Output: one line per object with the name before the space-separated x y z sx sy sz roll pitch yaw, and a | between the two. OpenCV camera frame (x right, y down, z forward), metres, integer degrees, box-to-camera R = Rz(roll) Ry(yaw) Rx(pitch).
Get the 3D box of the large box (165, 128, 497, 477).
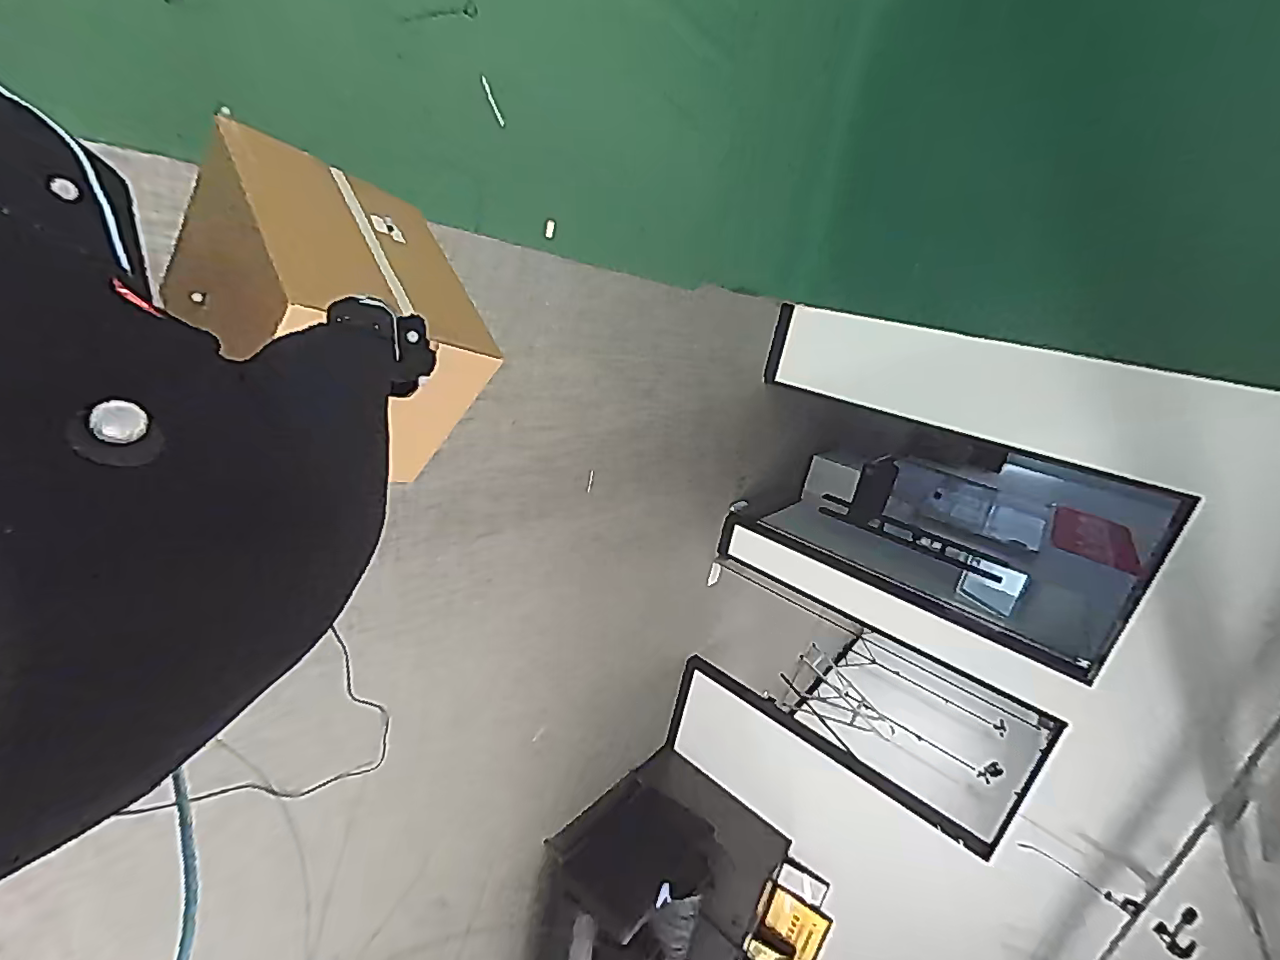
large box | -0.509 -0.250 0.880 0.320 0.408 0.320 -44 155 25
